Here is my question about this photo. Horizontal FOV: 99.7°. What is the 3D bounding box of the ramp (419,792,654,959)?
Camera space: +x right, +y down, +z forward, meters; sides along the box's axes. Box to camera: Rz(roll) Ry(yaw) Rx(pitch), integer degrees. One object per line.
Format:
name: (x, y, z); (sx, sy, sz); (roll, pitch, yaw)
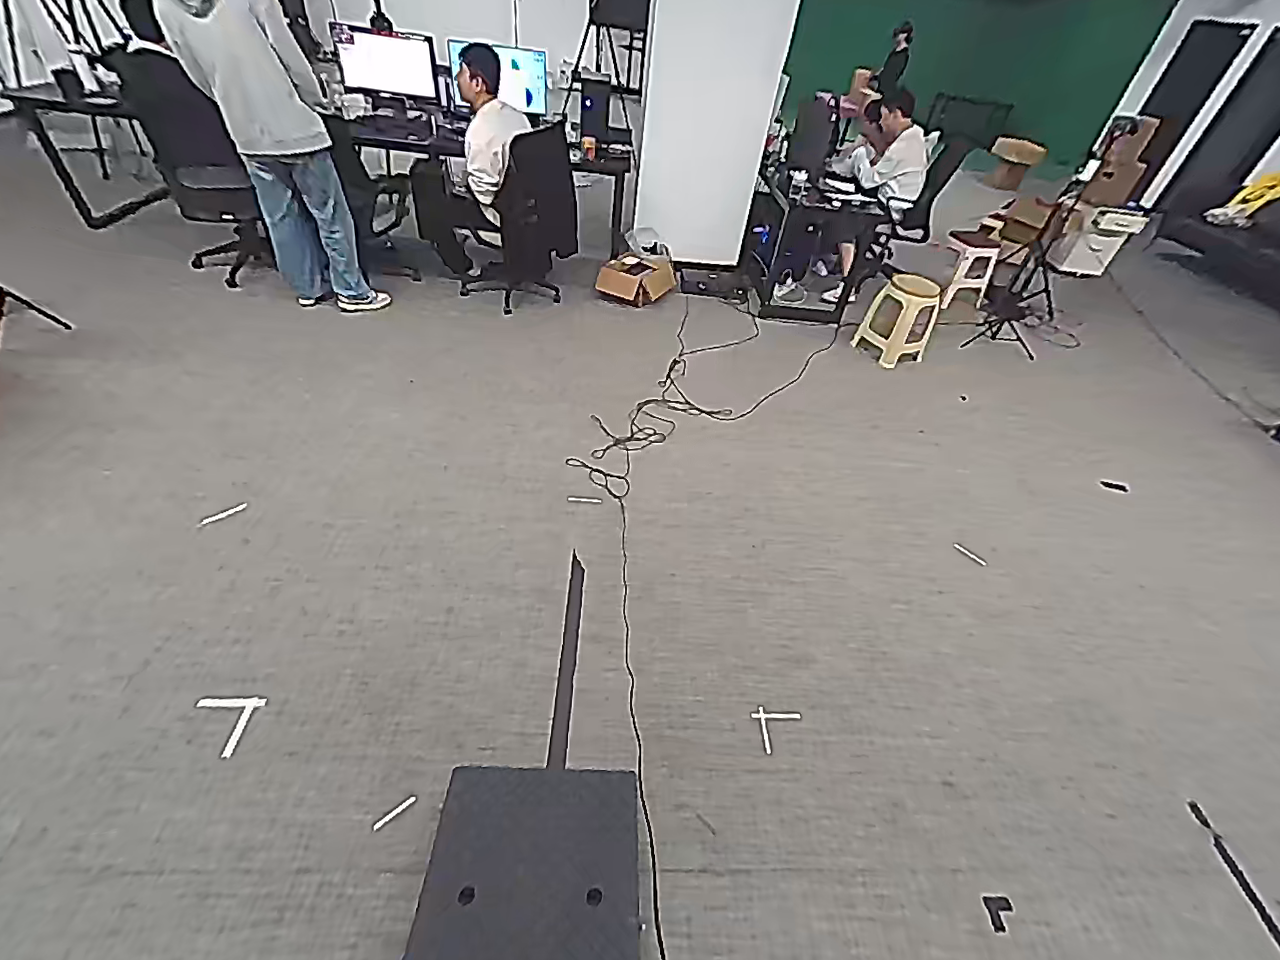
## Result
ramp: (-0.210, 1.083, 1.005); (0.509, 0.206, 0.991); (1, 40, -5)
